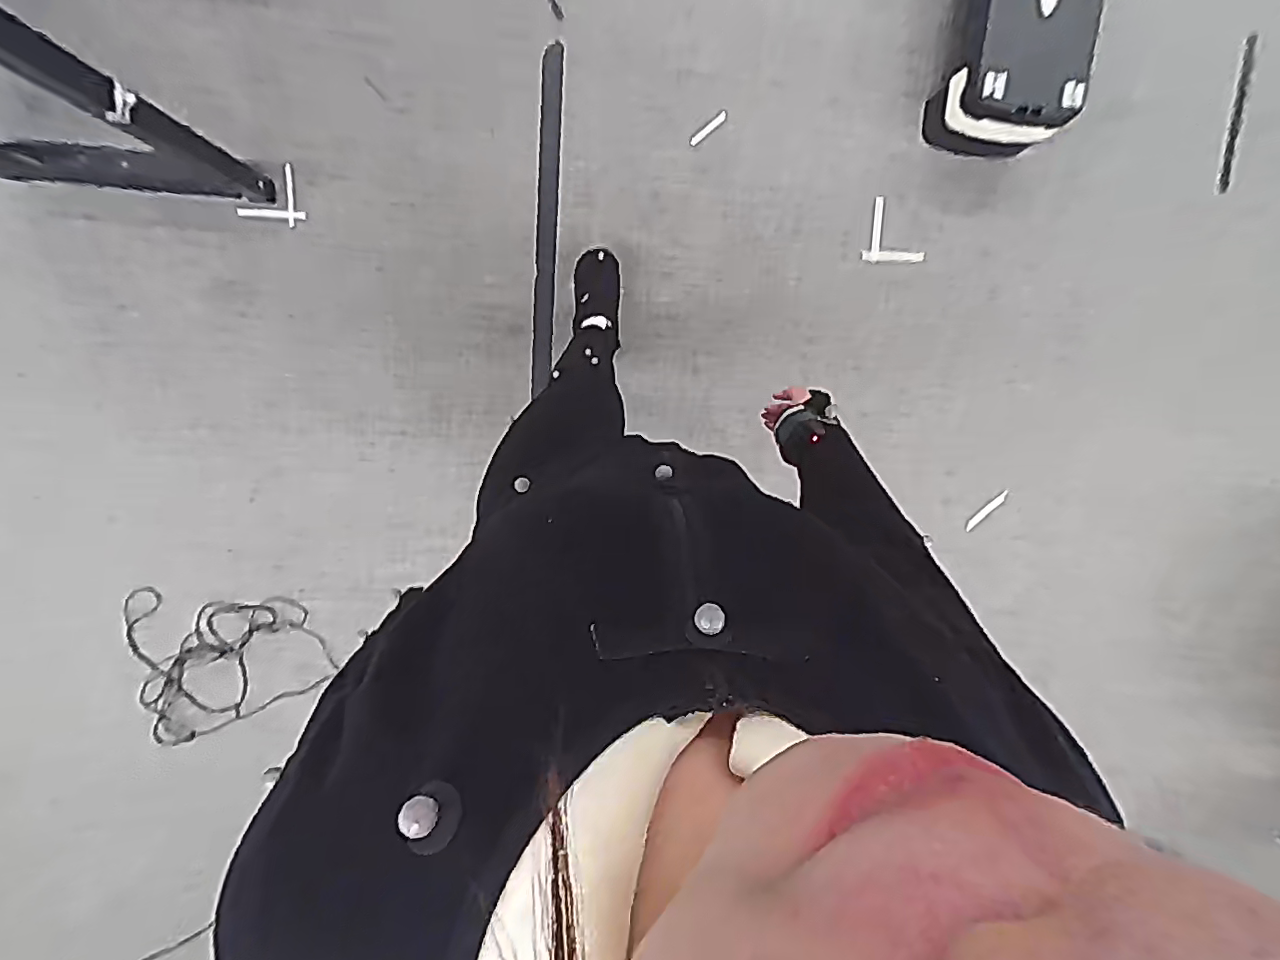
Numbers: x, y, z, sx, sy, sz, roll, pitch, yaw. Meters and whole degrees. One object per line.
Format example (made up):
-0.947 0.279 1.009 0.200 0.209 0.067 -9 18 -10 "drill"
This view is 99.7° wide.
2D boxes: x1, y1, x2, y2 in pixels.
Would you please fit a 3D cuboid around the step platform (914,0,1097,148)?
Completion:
0.892 -1.189 1.256 0.286 0.204 0.684 8 98 -7 "step platform"
